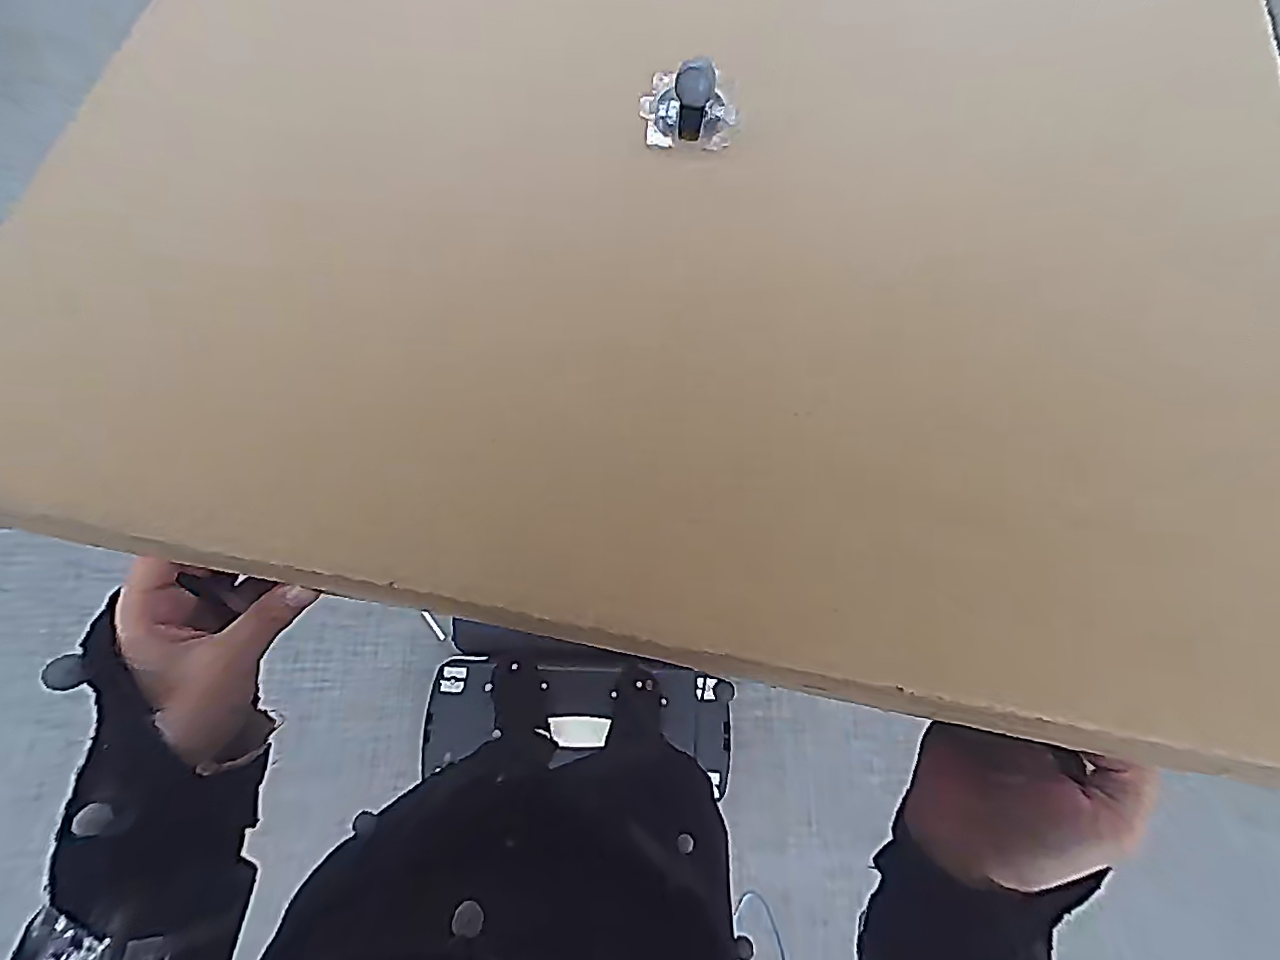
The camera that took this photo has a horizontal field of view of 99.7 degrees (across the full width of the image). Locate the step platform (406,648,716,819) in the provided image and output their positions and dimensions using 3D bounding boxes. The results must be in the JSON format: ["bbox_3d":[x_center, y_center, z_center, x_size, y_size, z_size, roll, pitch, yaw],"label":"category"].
[{"bbox_3d":[-0.168,0.575,1.253,0.684,0.204,0.286,7,74,-1],"label":"step platform"}]
